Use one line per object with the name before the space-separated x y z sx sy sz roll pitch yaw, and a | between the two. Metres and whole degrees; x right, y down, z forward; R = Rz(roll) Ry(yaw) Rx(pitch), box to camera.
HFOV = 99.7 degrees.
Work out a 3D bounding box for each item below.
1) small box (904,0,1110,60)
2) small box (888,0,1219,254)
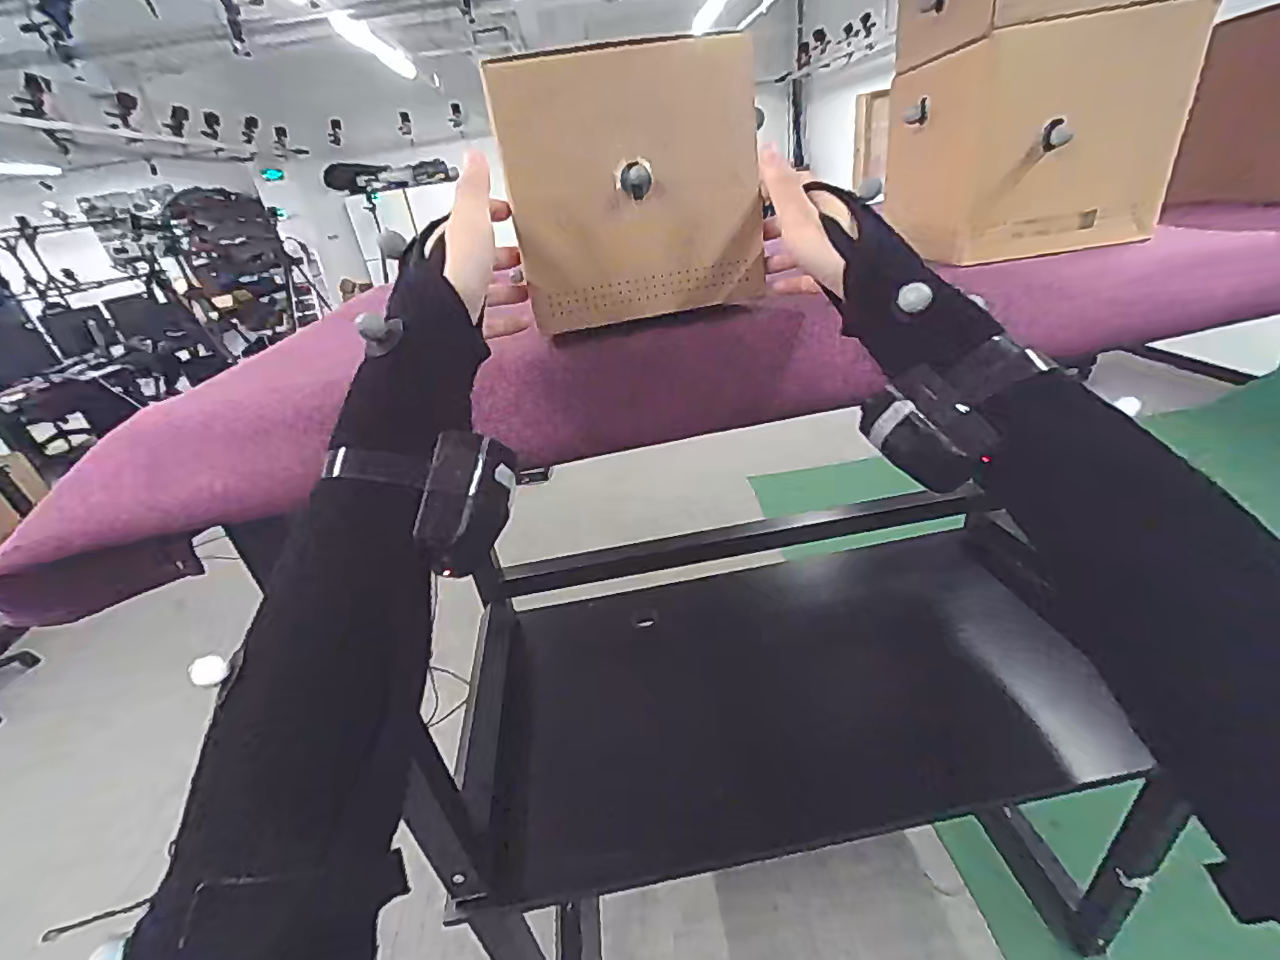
small box | 0.329 -0.455 0.423 0.168 0.176 0.179 -7 28 3
small box | 0.349 -0.311 0.498 0.168 0.176 0.179 -7 28 2
